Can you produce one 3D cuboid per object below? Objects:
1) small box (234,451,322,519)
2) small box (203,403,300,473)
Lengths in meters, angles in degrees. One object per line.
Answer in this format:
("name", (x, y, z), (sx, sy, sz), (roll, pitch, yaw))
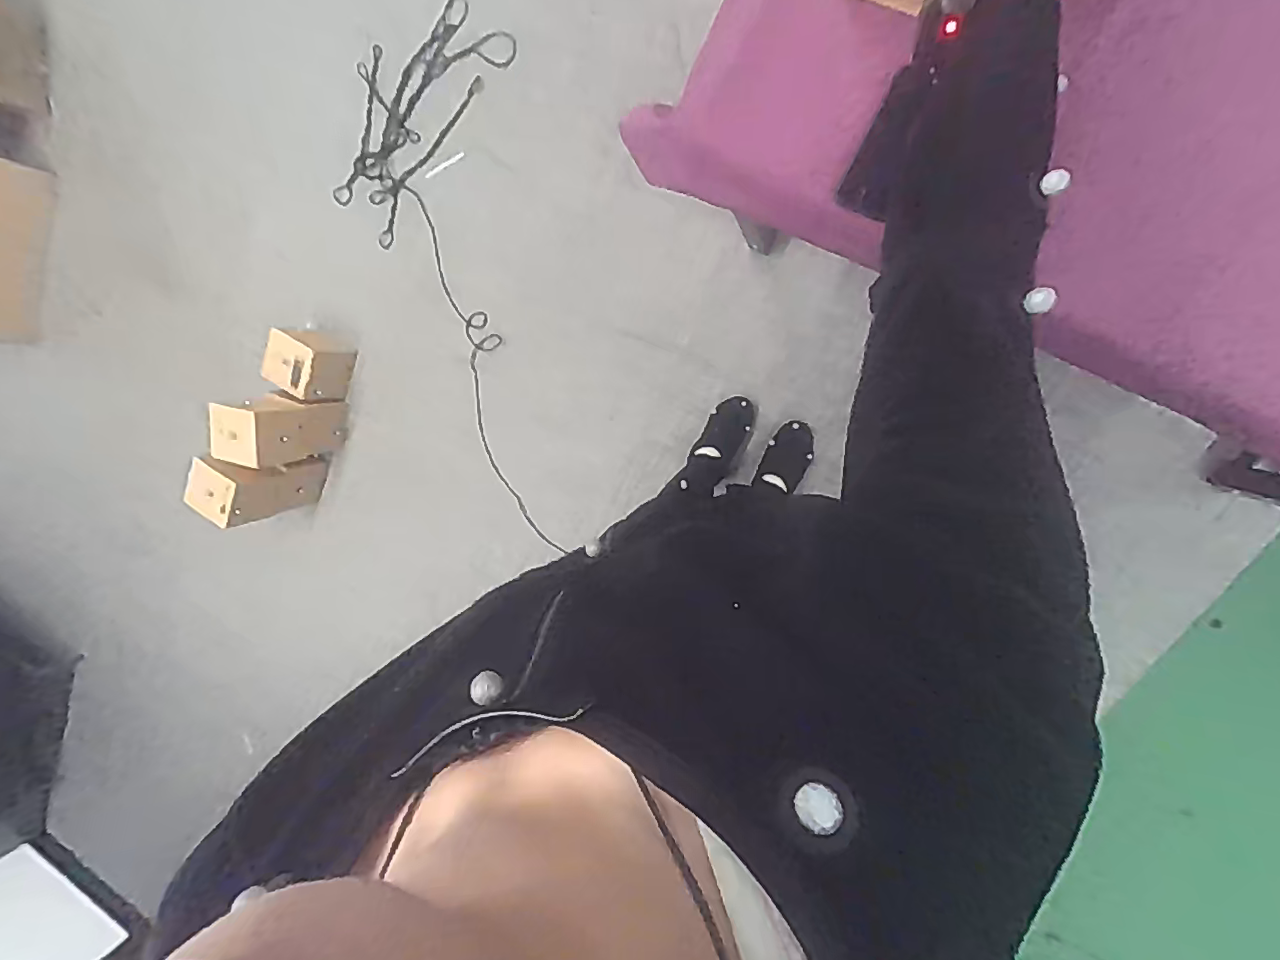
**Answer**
("small box", (-1.213, 0.000, 1.821), (0.168, 0.176, 0.179), (29, 108, 10))
("small box", (-1.141, -0.131, 1.601), (0.179, 0.176, 0.168), (12, 104, 15))
